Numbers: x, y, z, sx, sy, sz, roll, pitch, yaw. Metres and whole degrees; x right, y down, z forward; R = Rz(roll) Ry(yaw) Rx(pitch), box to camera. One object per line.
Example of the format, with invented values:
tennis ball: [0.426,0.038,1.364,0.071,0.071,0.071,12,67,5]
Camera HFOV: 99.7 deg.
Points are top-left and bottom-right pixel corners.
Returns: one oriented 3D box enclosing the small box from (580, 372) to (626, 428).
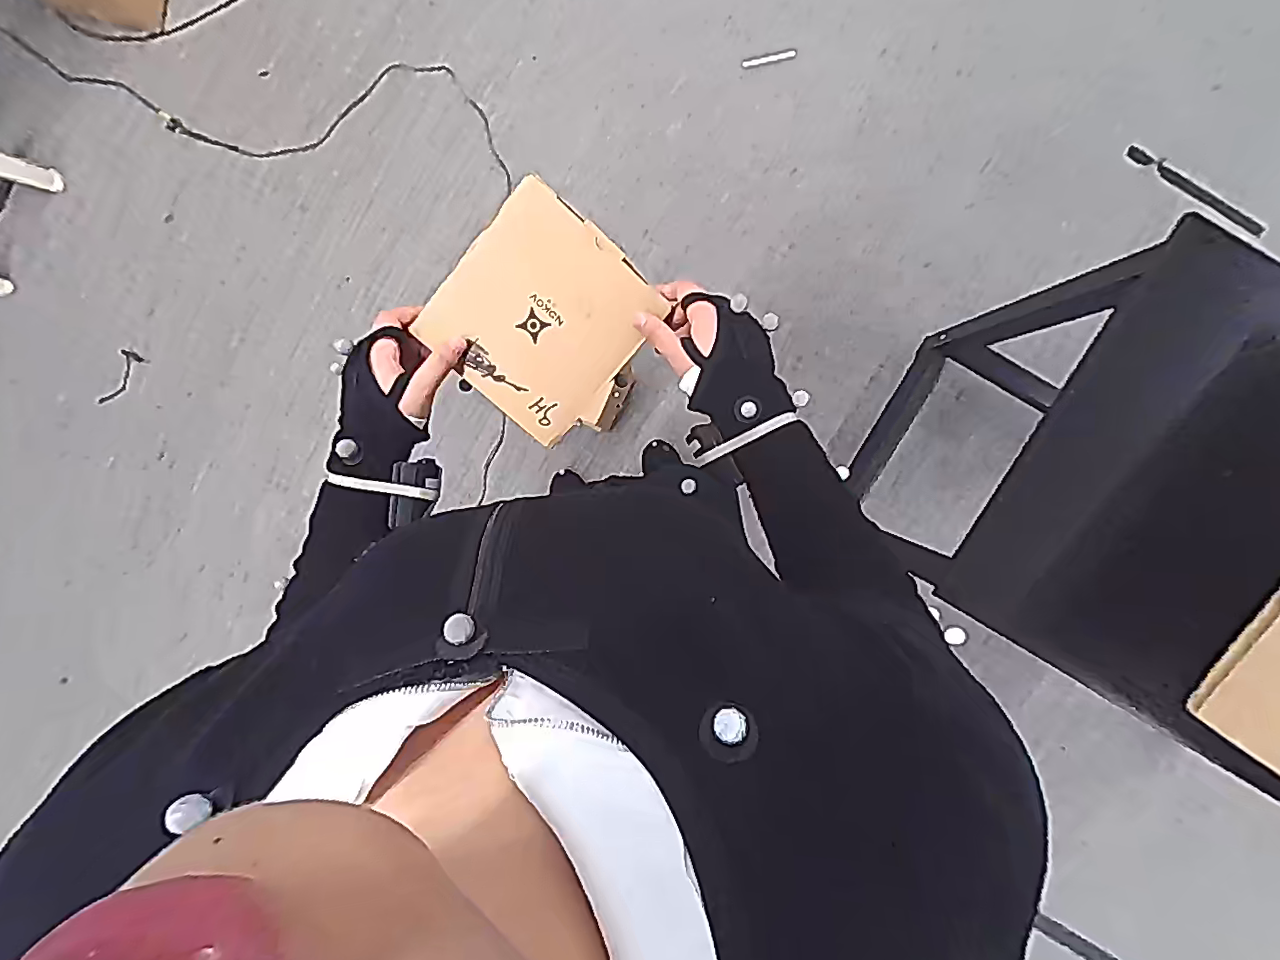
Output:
small box: [-0.137,-0.227,1.242,0.168,0.176,0.179,24,93,0]

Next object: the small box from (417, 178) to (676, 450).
small box: [-0.086,-0.159,0.557,0.168,0.176,0.179,41,99,-9]

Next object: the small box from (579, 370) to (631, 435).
small box: [-0.132,-0.230,1.404,0.168,0.176,0.179,27,95,1]
